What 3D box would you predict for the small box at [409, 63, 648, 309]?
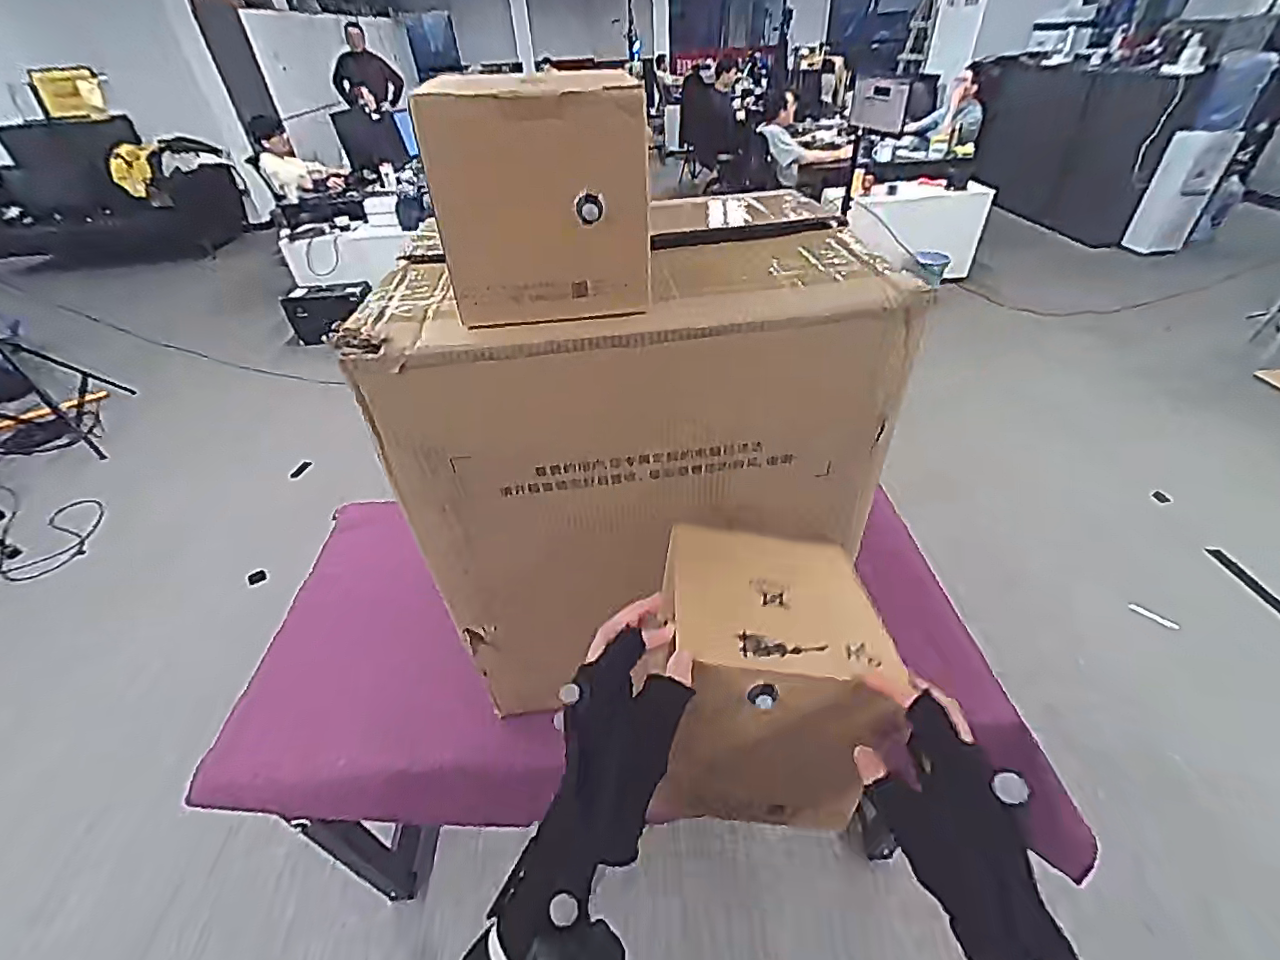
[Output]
[{"bbox_3d":[-0.084,-0.260,0.484,0.168,0.176,0.179,-5,39,-5],"label":"small box"}]
